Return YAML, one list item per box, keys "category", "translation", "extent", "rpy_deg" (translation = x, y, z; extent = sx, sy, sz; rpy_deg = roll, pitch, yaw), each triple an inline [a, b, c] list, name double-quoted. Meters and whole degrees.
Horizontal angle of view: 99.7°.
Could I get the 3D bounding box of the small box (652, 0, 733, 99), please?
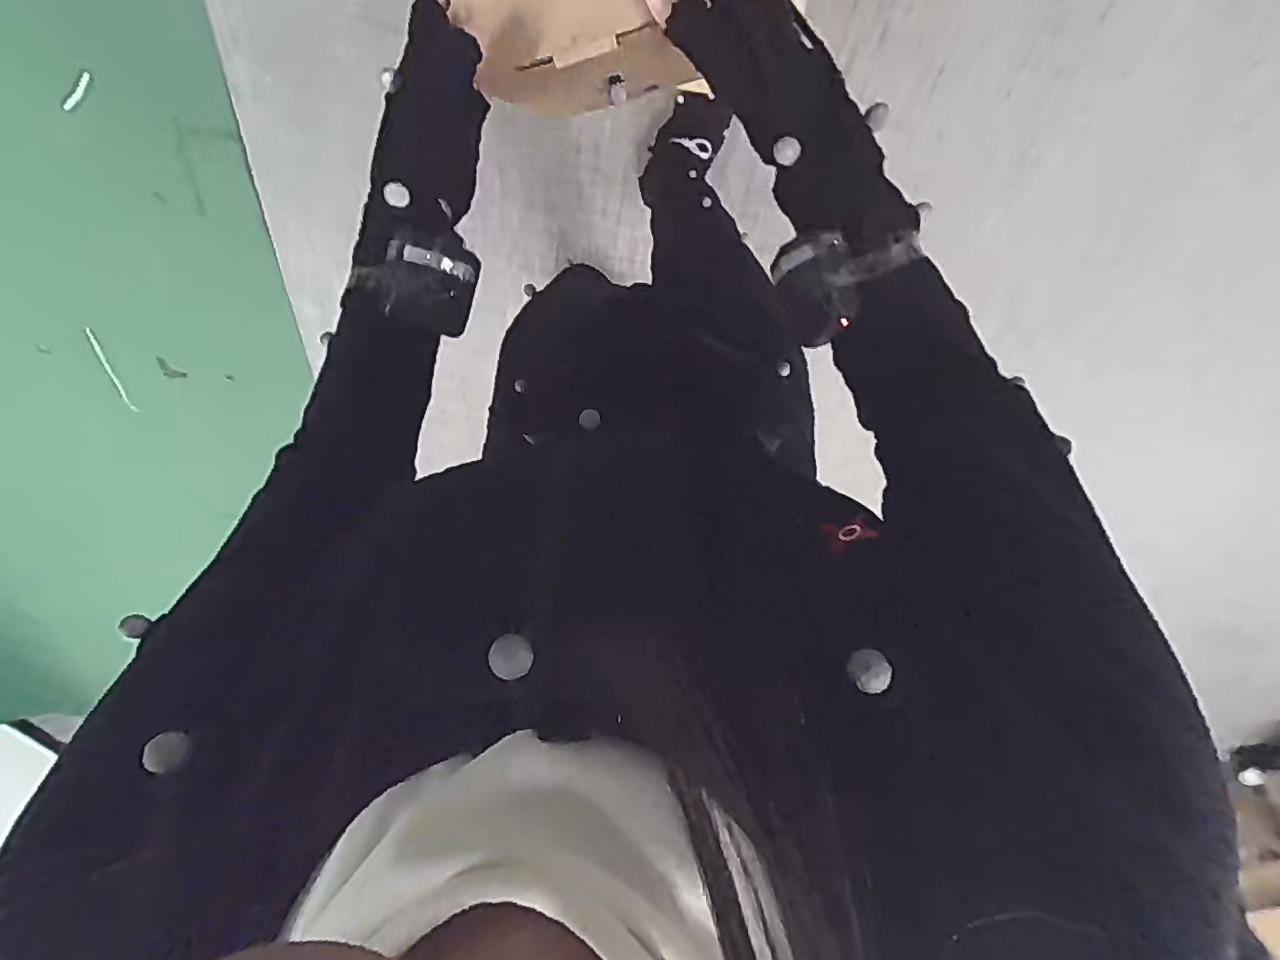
- category: "small box"
  translation: [0.024, -0.587, 0.654]
  extent: [0.179, 0.176, 0.168]
  rpy_deg: [9, 136, 0]
